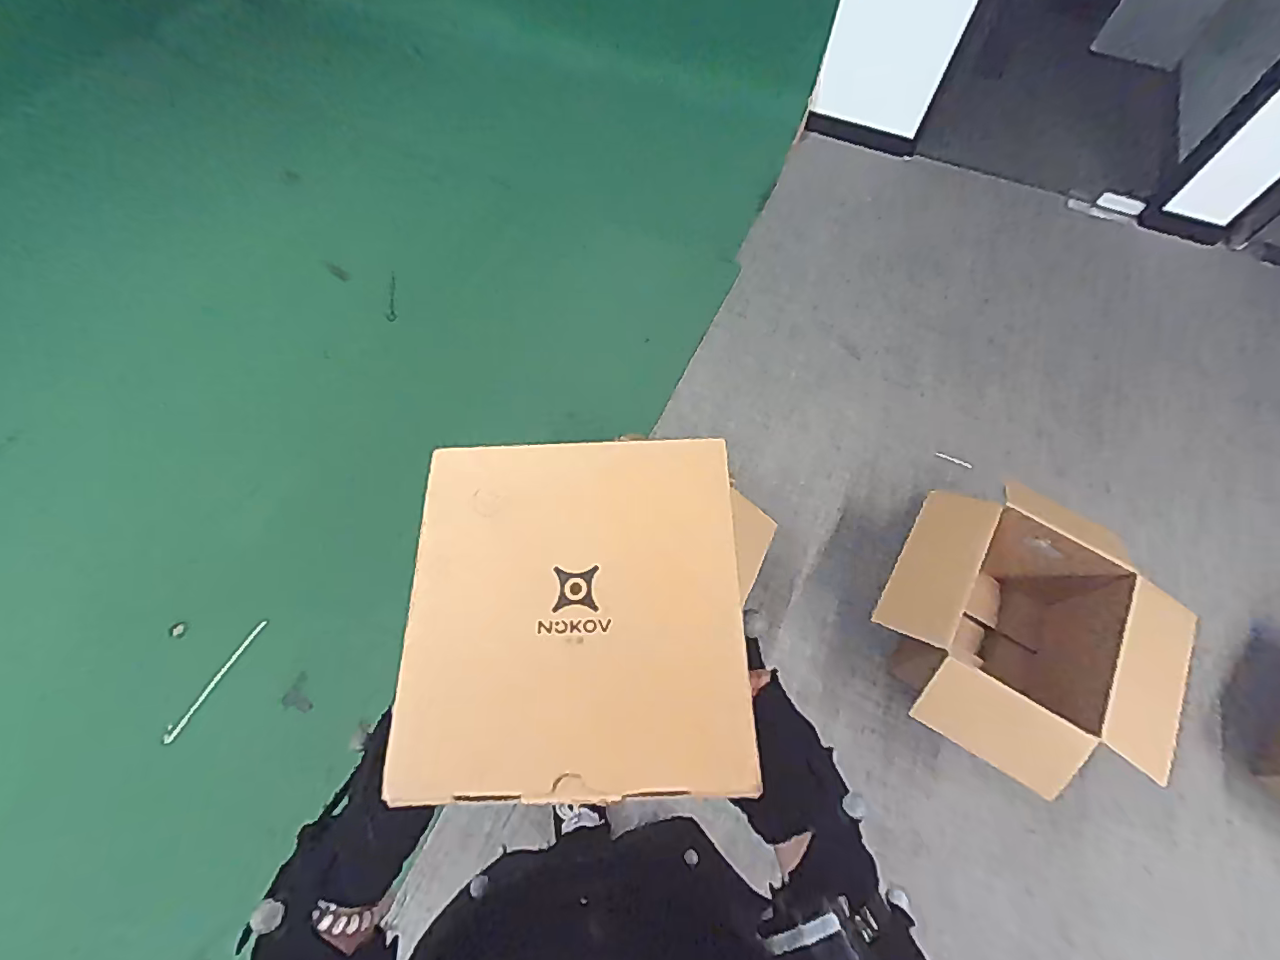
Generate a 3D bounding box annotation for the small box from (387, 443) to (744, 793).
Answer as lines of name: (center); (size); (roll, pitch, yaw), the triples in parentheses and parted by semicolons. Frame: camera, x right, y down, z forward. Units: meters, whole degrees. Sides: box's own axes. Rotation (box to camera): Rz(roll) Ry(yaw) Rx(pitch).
small box: (-0.033, 0.092, 0.350); (0.168, 0.176, 0.179); (-2, 67, 2)
